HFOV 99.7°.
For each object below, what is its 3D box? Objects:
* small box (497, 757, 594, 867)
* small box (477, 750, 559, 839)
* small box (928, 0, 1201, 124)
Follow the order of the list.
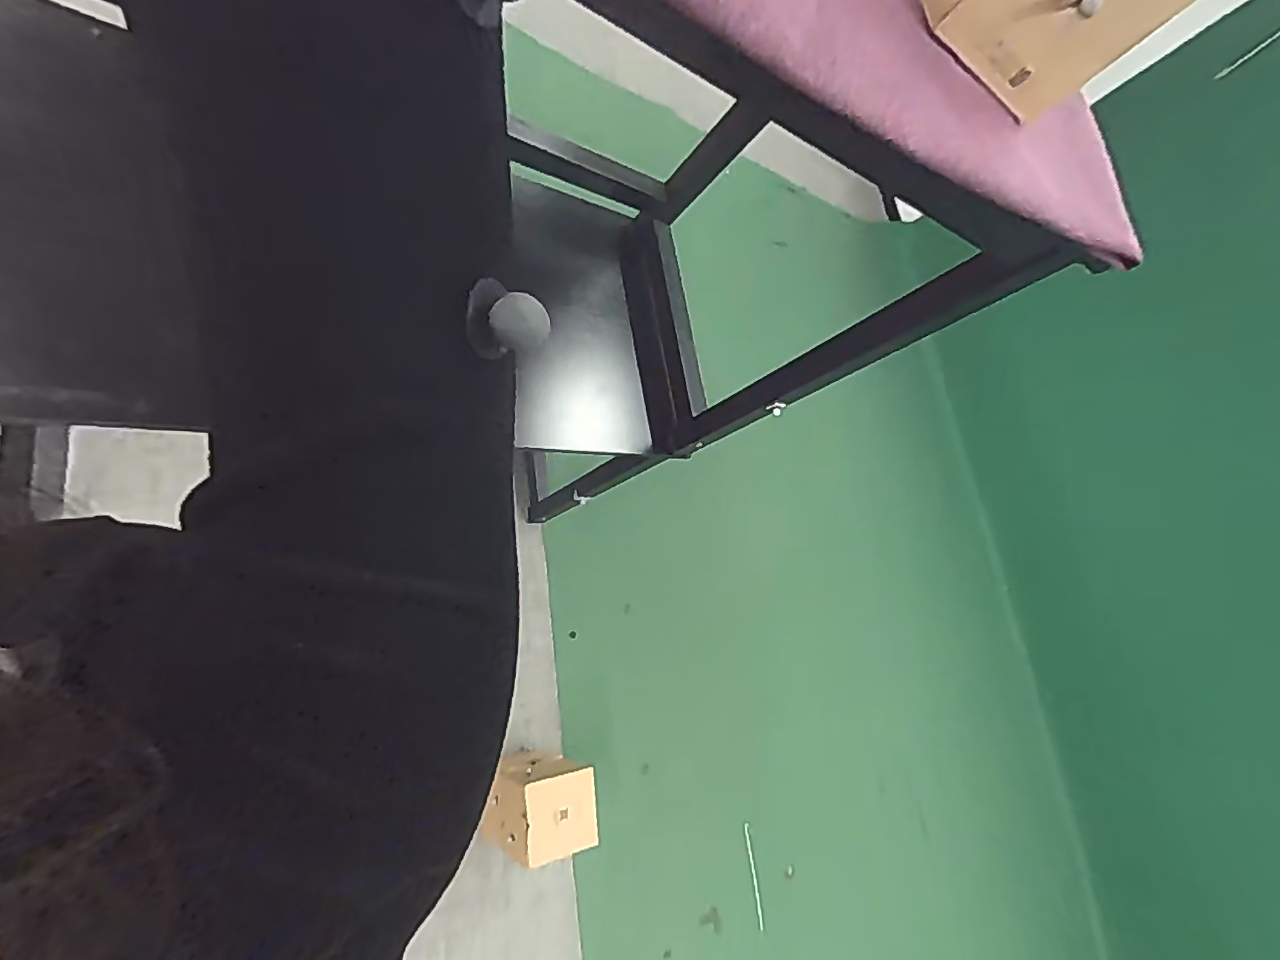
[{"bbox_3d":[-0.230,0.767,1.270,0.179,0.176,0.168,4,73,-36],"label":"small box"},{"bbox_3d":[-0.315,0.811,1.400,0.168,0.176,0.179,6,73,-34],"label":"small box"},{"bbox_3d":[0.339,-0.437,0.427,0.168,0.176,0.179,9,68,-32],"label":"small box"}]
